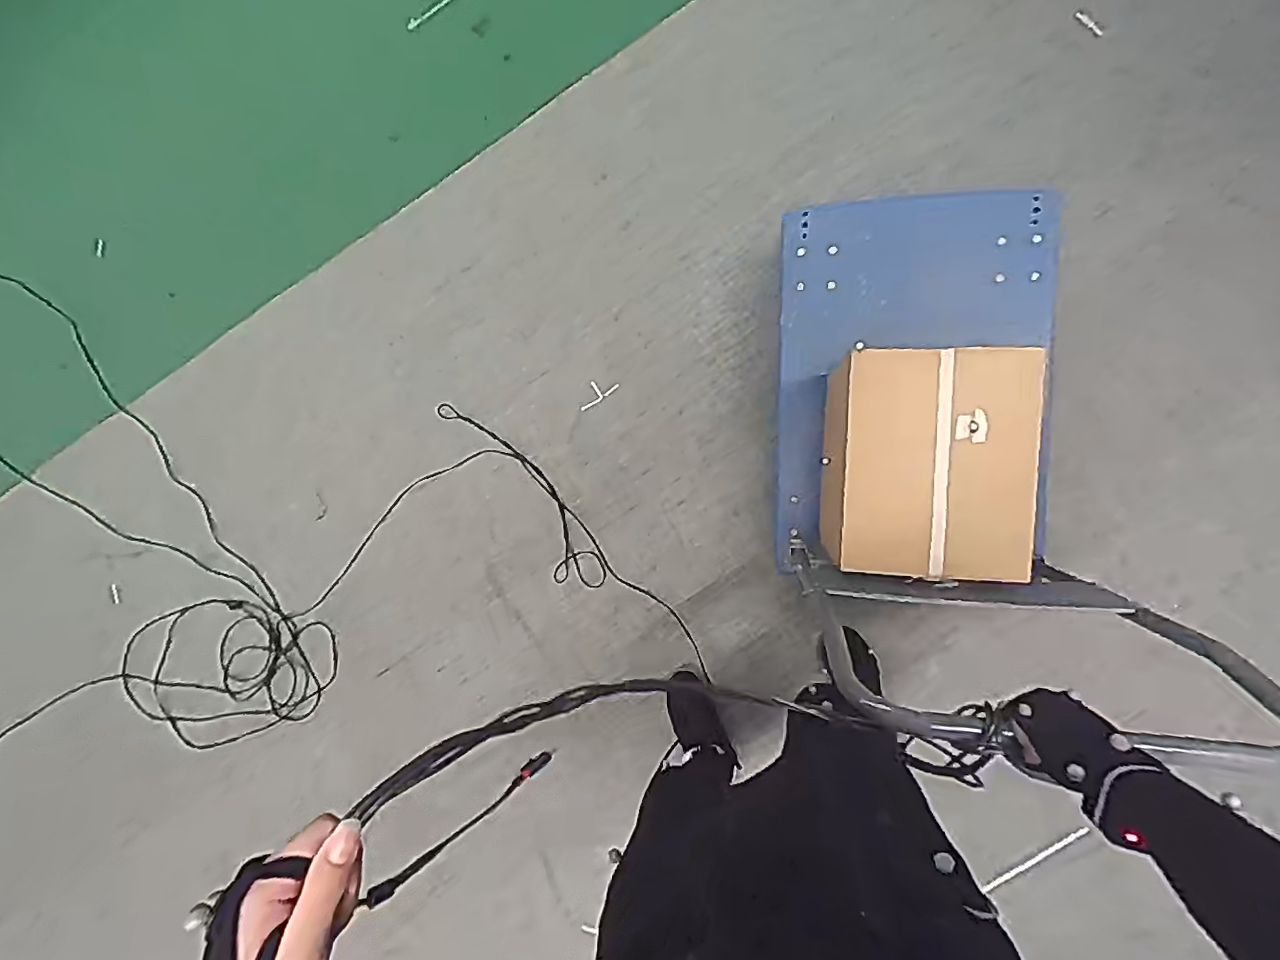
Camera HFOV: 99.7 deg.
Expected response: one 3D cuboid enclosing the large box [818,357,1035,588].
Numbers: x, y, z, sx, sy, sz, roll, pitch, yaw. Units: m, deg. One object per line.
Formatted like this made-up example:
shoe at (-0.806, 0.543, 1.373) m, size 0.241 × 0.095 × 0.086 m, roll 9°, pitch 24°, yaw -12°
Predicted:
large box at (0.545, -0.018, 1.101) m, size 0.320 × 0.320 × 0.408 m, roll 4°, pitch 92°, yaw 10°
